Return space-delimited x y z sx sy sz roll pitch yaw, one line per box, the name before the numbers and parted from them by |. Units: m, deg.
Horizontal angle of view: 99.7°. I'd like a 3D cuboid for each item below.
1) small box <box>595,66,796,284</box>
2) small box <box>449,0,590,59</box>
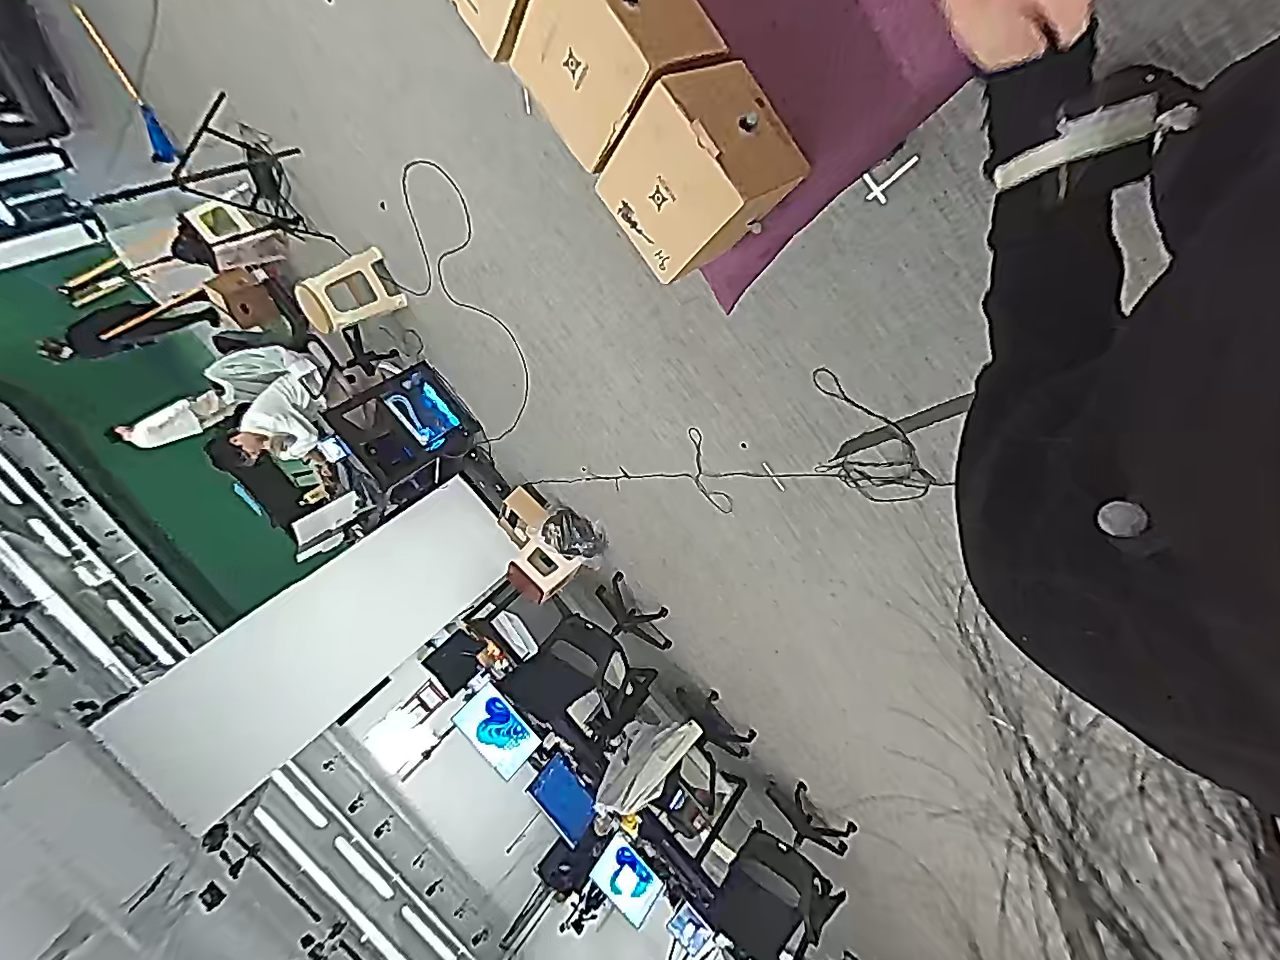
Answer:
small box | 0.079 -0.400 0.713 0.168 0.176 0.179 53 146 -6
small box | -0.151 -0.684 0.676 0.168 0.176 0.179 51 146 -9
